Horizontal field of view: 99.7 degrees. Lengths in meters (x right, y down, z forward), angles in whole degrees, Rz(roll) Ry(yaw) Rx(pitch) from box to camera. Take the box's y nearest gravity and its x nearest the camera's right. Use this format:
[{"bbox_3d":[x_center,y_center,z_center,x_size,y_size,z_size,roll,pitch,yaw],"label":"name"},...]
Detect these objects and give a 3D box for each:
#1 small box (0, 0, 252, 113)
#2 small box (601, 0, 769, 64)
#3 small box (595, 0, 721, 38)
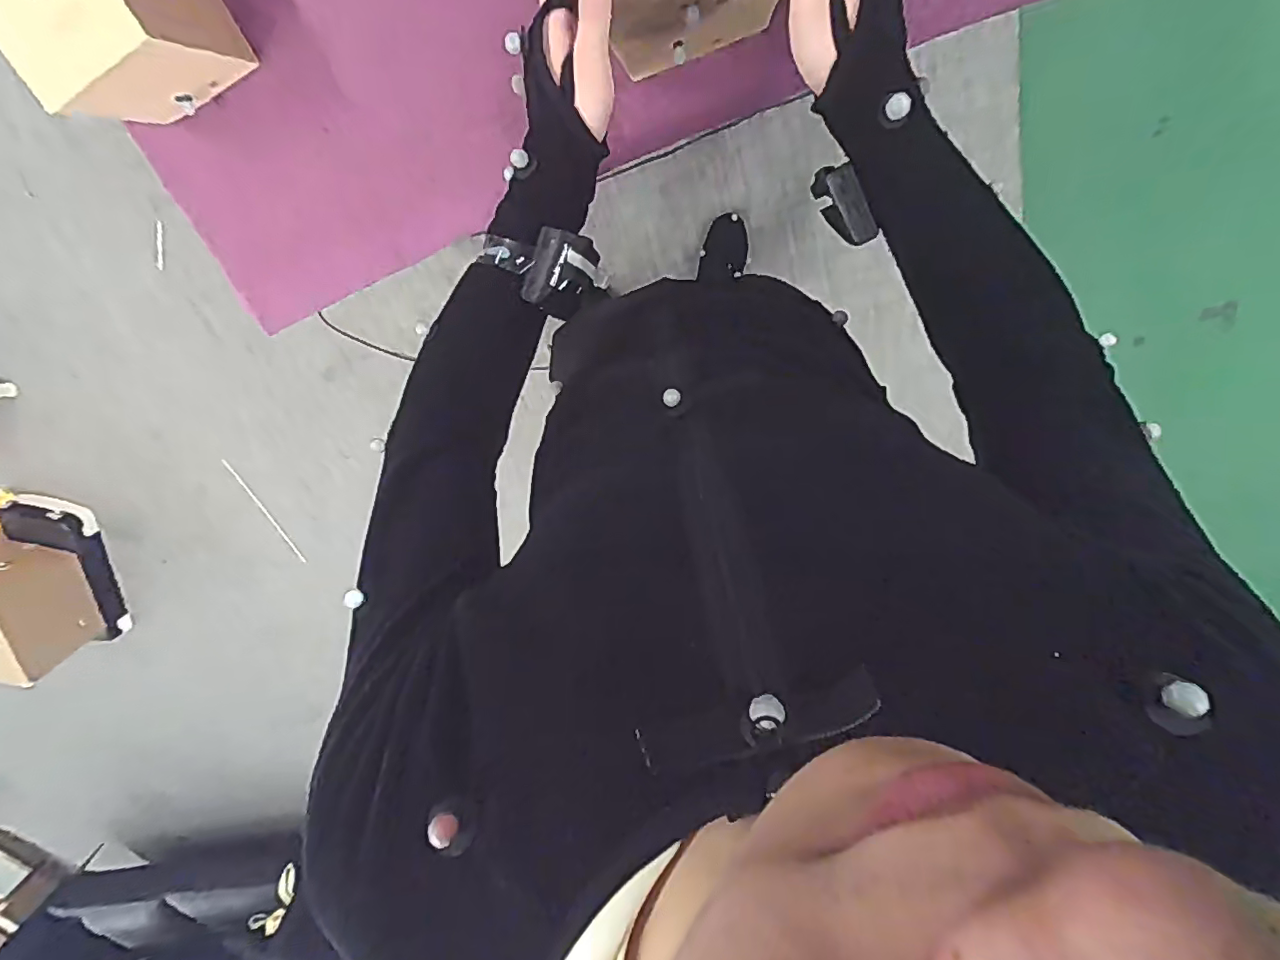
[{"bbox_3d":[-0.597,-0.542,0.599,0.168,0.176,0.179,-17,117,16],"label":"small box"},{"bbox_3d":[0.034,-0.540,0.527,0.168,0.176,0.179,-13,116,14],"label":"small box"},{"bbox_3d":[0.017,-0.464,0.383,0.168,0.176,0.179,-12,116,14],"label":"small box"}]
